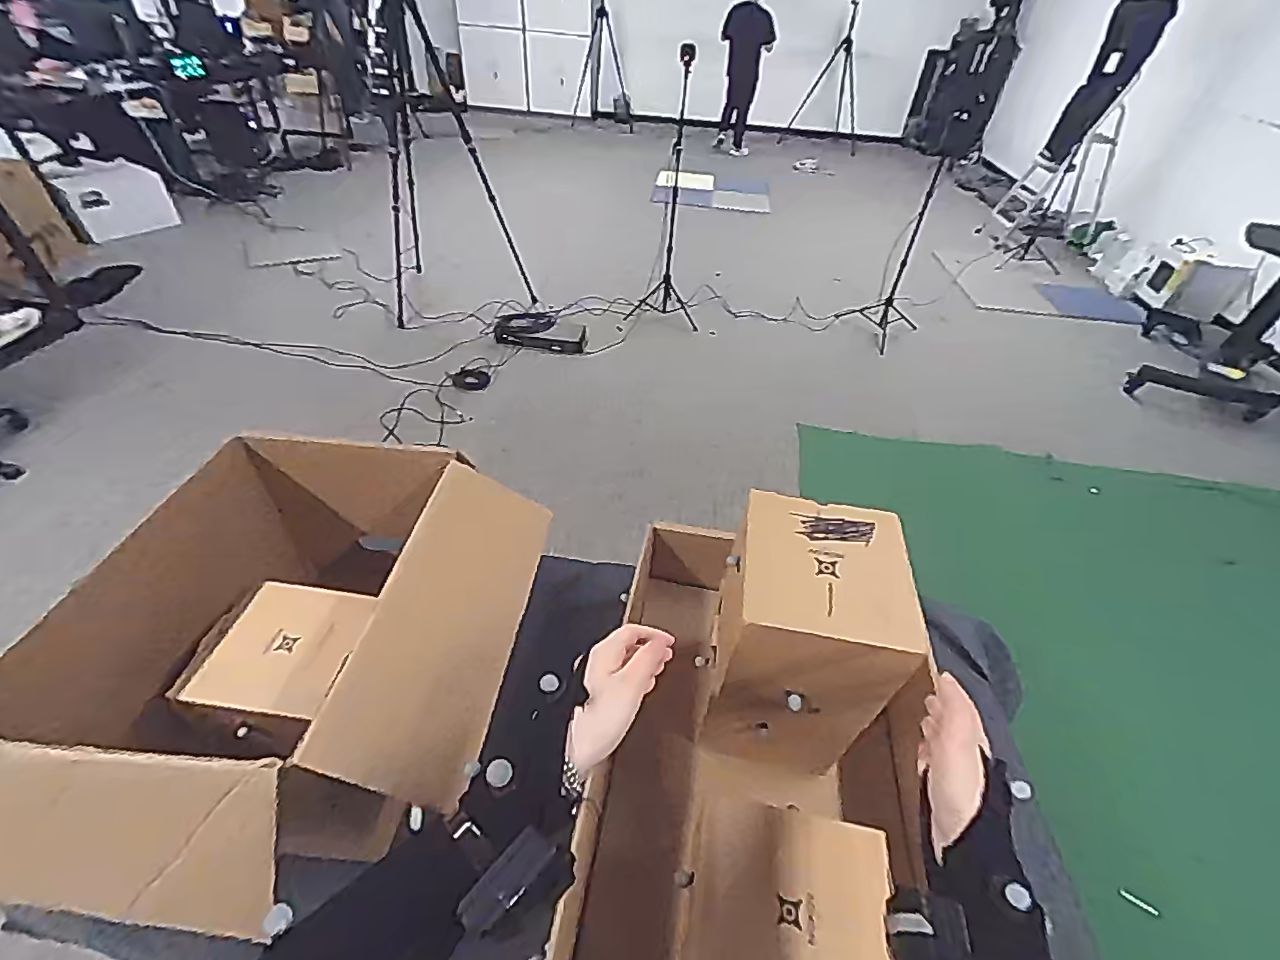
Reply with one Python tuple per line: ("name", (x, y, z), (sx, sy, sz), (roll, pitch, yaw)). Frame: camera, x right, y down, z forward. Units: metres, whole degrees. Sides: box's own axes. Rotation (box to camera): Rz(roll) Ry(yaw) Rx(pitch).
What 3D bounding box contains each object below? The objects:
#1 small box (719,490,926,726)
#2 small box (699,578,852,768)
("small box", (0.185, 0.141, 0.600), (0.168, 0.176, 0.179), (9, 45, 6))
("small box", (0.177, 0.257, 0.717), (0.179, 0.176, 0.168), (9, 45, 7))
